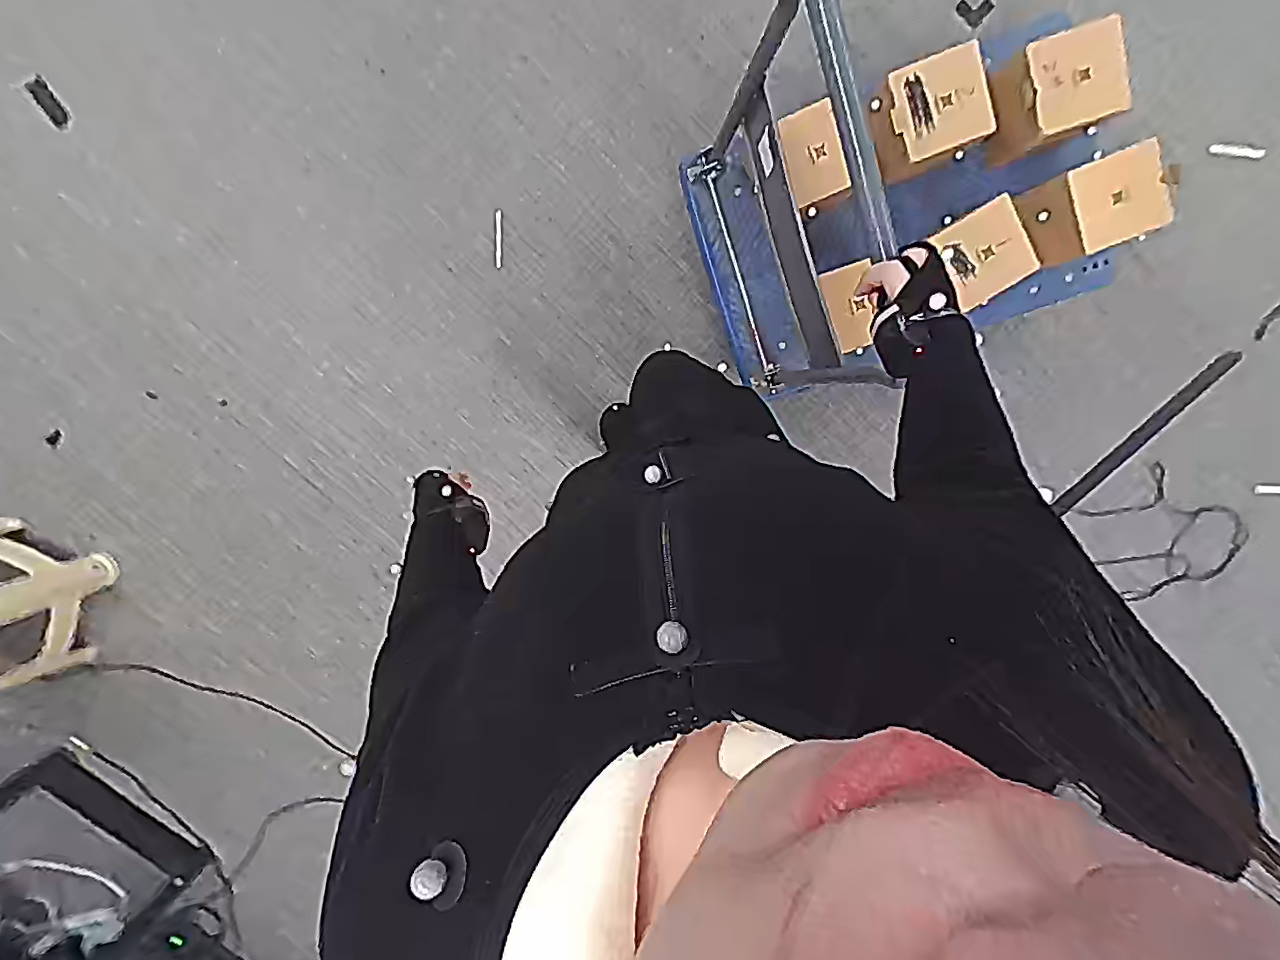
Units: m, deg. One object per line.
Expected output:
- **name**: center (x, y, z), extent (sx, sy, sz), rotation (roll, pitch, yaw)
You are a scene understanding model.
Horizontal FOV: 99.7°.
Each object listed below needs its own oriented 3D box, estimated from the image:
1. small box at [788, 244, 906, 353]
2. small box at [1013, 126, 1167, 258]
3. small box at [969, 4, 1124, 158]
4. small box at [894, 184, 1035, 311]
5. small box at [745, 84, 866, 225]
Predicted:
- **small box**: center (0.435, -0.381, 1.167), extent (0.179, 0.176, 0.168), rotation (-19, 101, 3)
- **small box**: center (0.922, -0.586, 1.128), extent (0.179, 0.176, 0.168), rotation (-22, 100, 4)
- **small box**: center (0.808, -0.788, 1.088), extent (0.179, 0.176, 0.168), rotation (-18, 100, 4)
- **small box**: center (0.672, -0.479, 1.148), extent (0.179, 0.176, 0.168), rotation (-32, 99, 5)
- **small box**: center (0.328, -0.654, 1.113), extent (0.179, 0.176, 0.168), rotation (-23, 101, 4)
